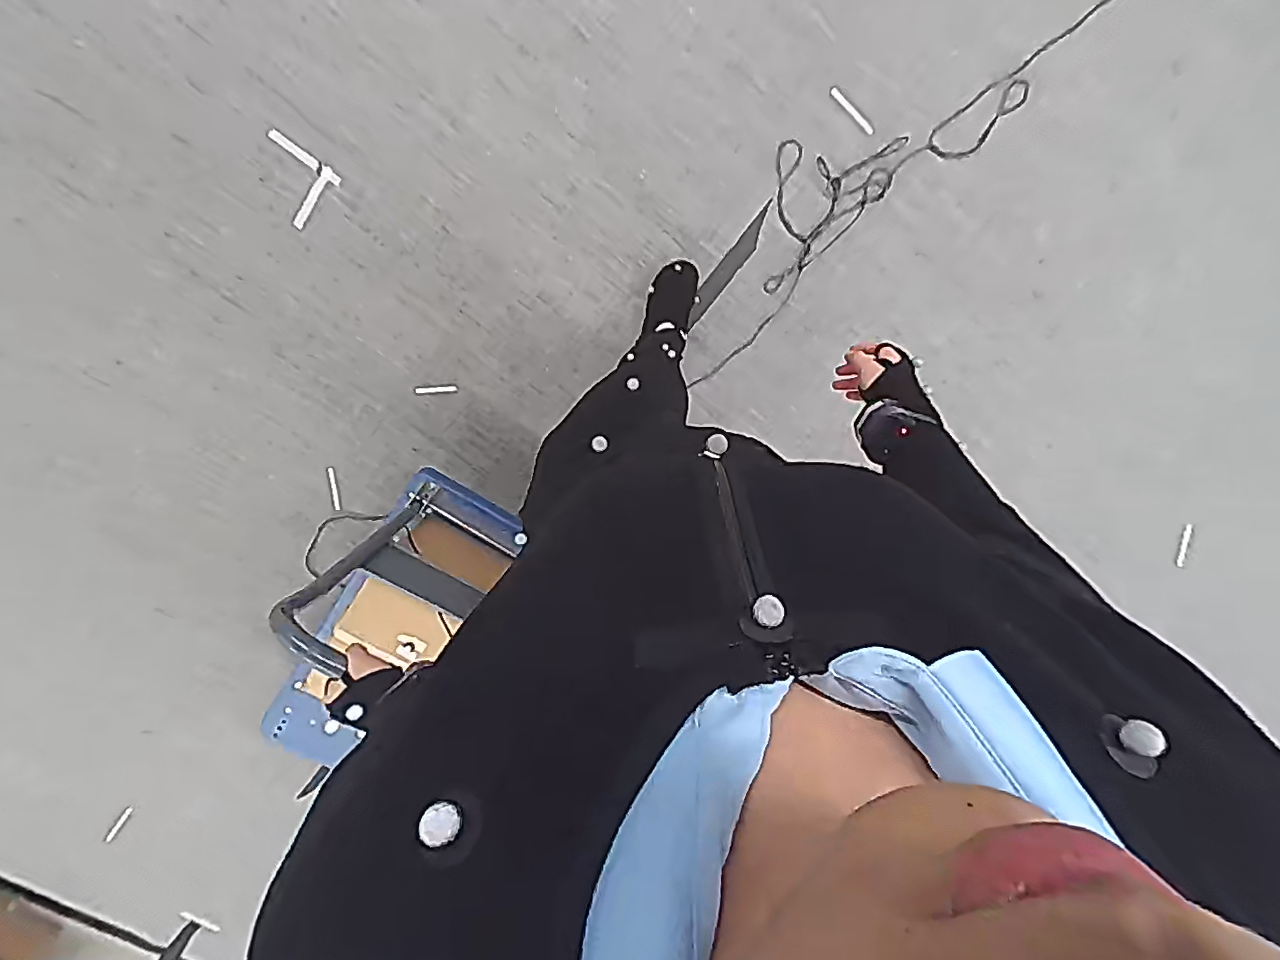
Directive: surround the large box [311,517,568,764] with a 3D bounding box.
[{"bbox_3d":[-0.421,0.347,1.234,0.408,0.320,0.320,33,100,-10],"label":"large box"}]
